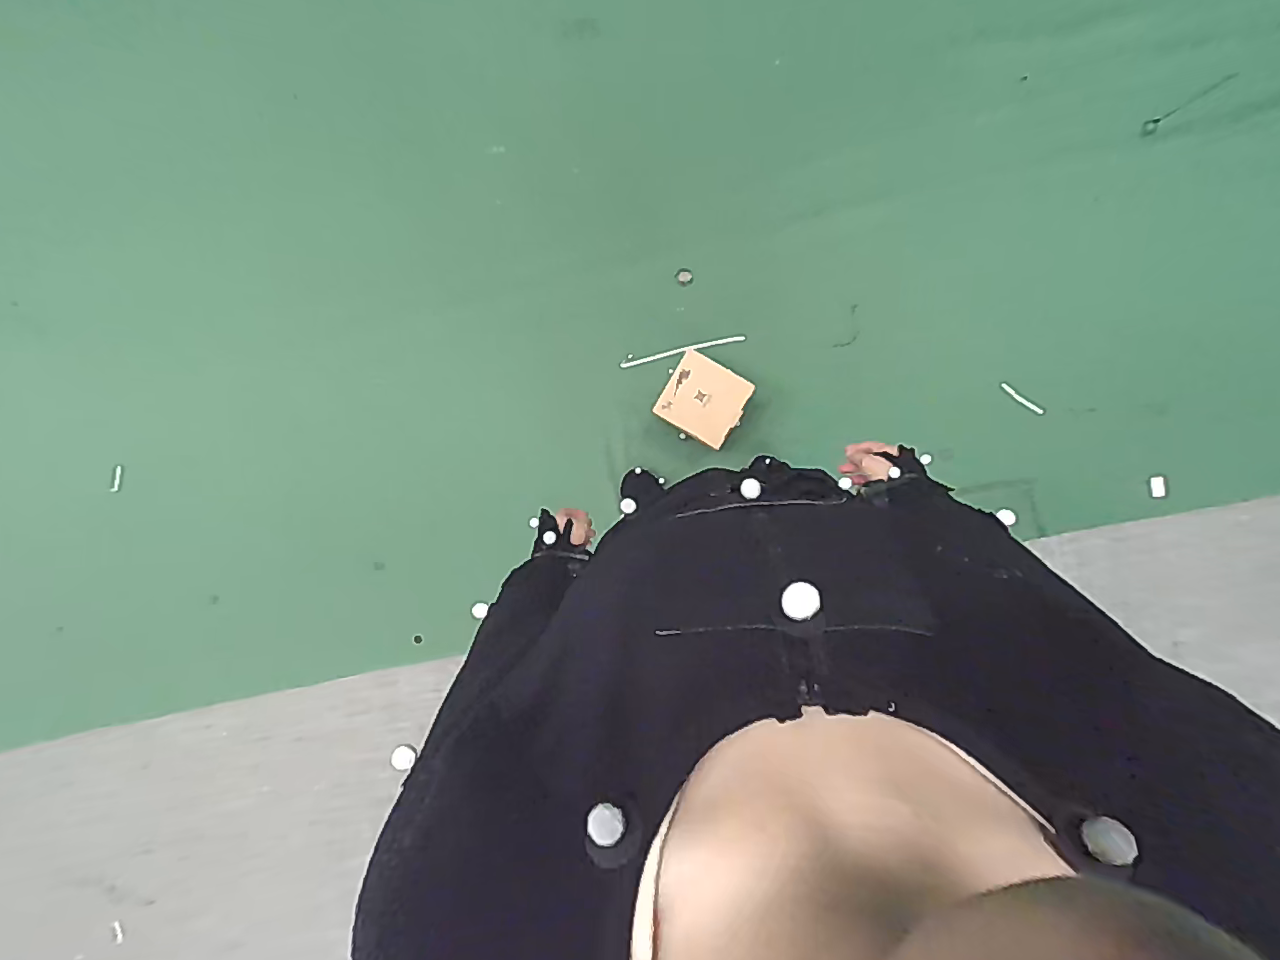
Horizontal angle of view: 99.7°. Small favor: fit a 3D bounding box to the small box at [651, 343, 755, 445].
[{"bbox_3d":[0.145,-0.198,1.271,0.179,0.176,0.168,31,95,2],"label":"small box"}]
